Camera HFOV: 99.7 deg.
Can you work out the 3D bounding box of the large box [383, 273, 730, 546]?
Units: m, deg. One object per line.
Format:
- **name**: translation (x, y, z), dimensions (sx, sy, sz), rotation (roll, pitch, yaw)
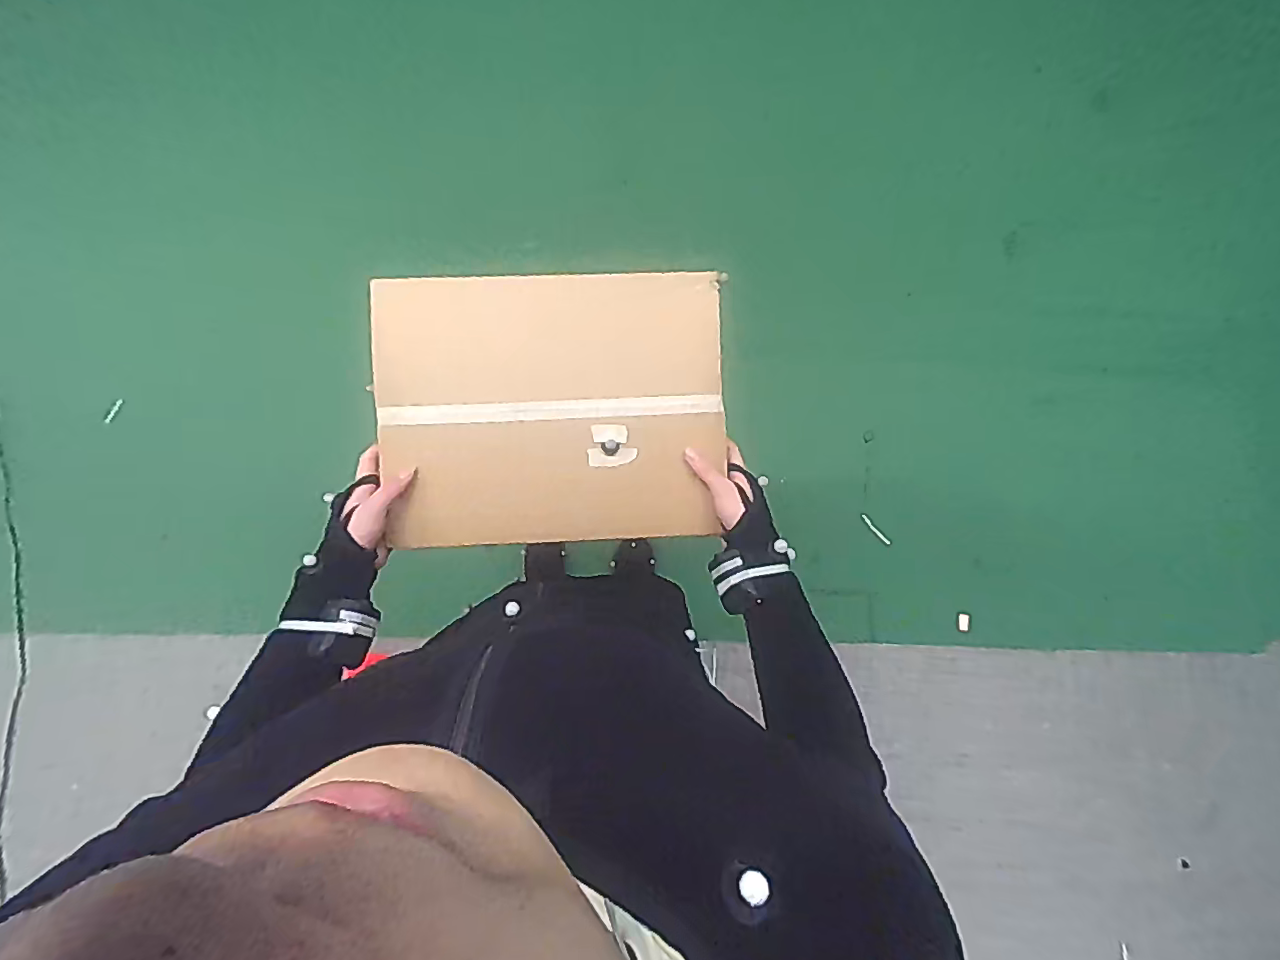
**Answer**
- **large box**: translation (-0.106, -0.089, 0.794), dimensions (0.408, 0.320, 0.320), rotation (-3, 93, -3)
